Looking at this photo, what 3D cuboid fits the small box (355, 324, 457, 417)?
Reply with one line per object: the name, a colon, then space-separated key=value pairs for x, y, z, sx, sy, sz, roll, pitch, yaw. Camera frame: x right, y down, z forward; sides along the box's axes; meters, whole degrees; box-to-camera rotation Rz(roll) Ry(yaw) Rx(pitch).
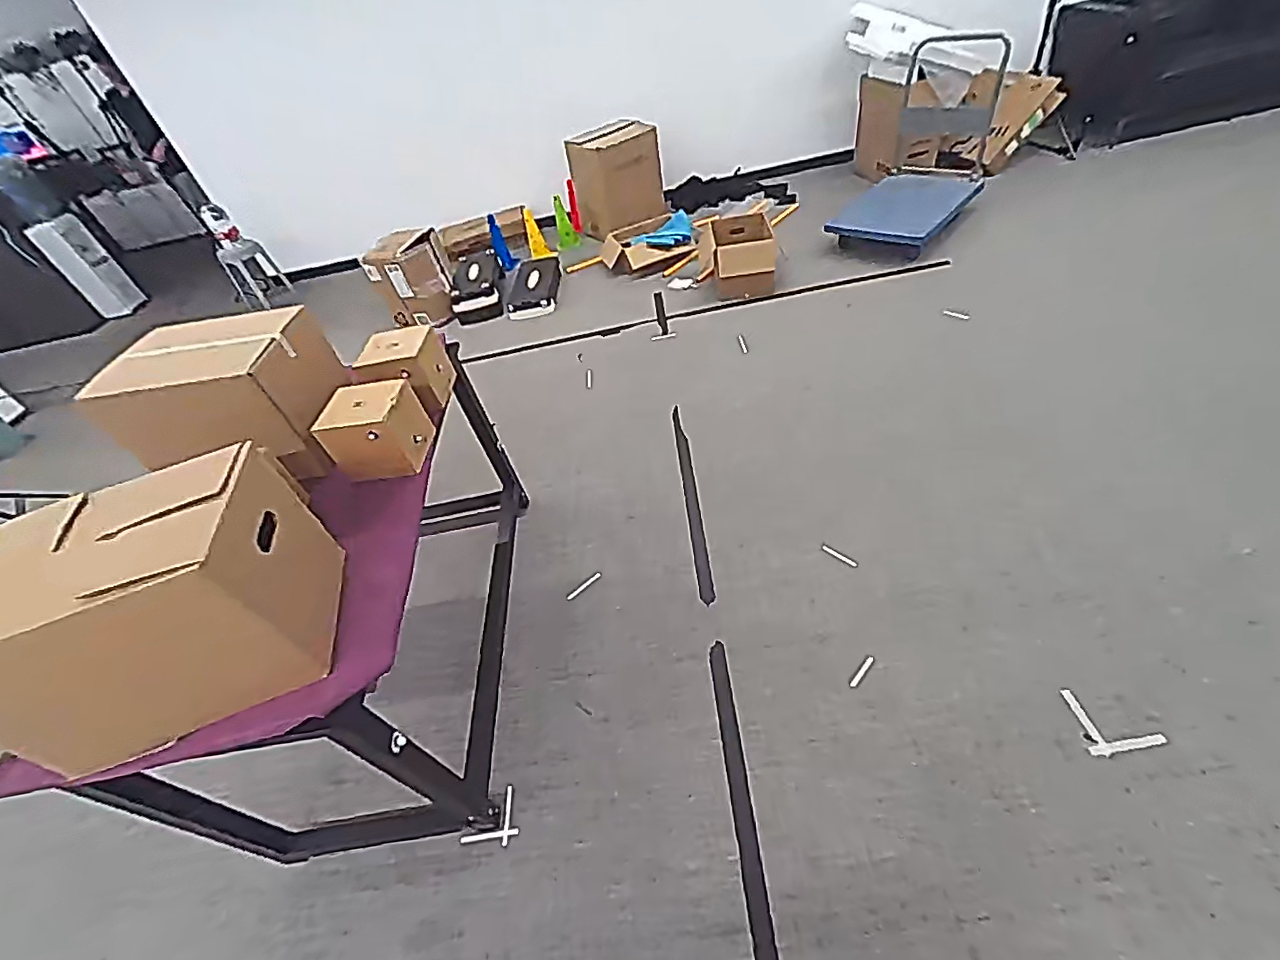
small box: x=-0.622 y=-0.293 z=1.465 sx=0.179 sy=0.176 sz=0.168 roll=-9 pitch=43 yaw=7
